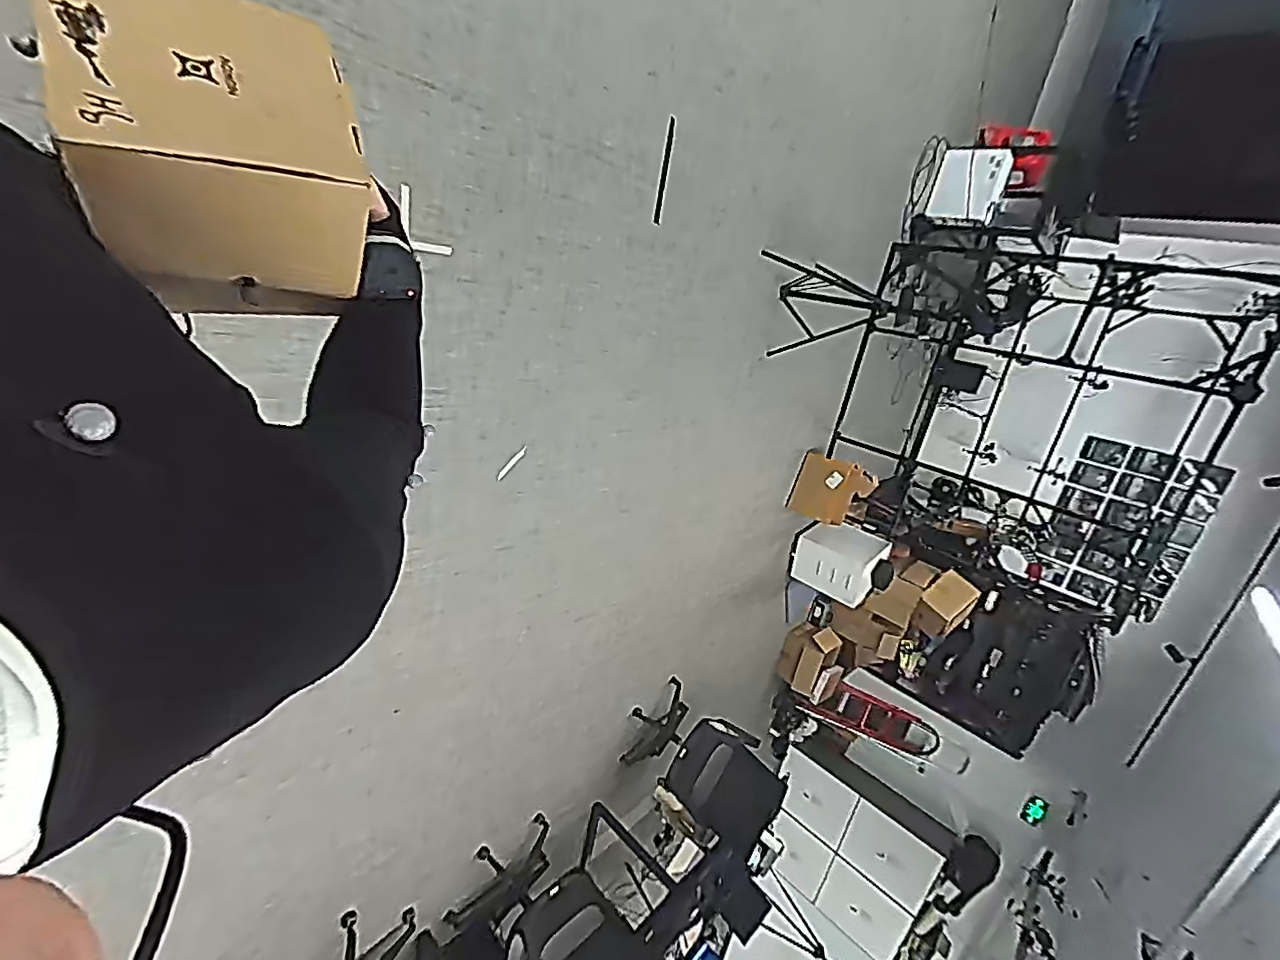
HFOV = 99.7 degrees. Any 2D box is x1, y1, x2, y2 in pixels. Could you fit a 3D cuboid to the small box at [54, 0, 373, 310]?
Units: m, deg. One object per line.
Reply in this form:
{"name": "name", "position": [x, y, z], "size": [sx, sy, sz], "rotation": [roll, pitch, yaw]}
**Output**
{"name": "small box", "position": [-0.352, -0.265, 0.467], "size": [0.179, 0.168, 0.176], "rotation": [-12, 164, -36]}
